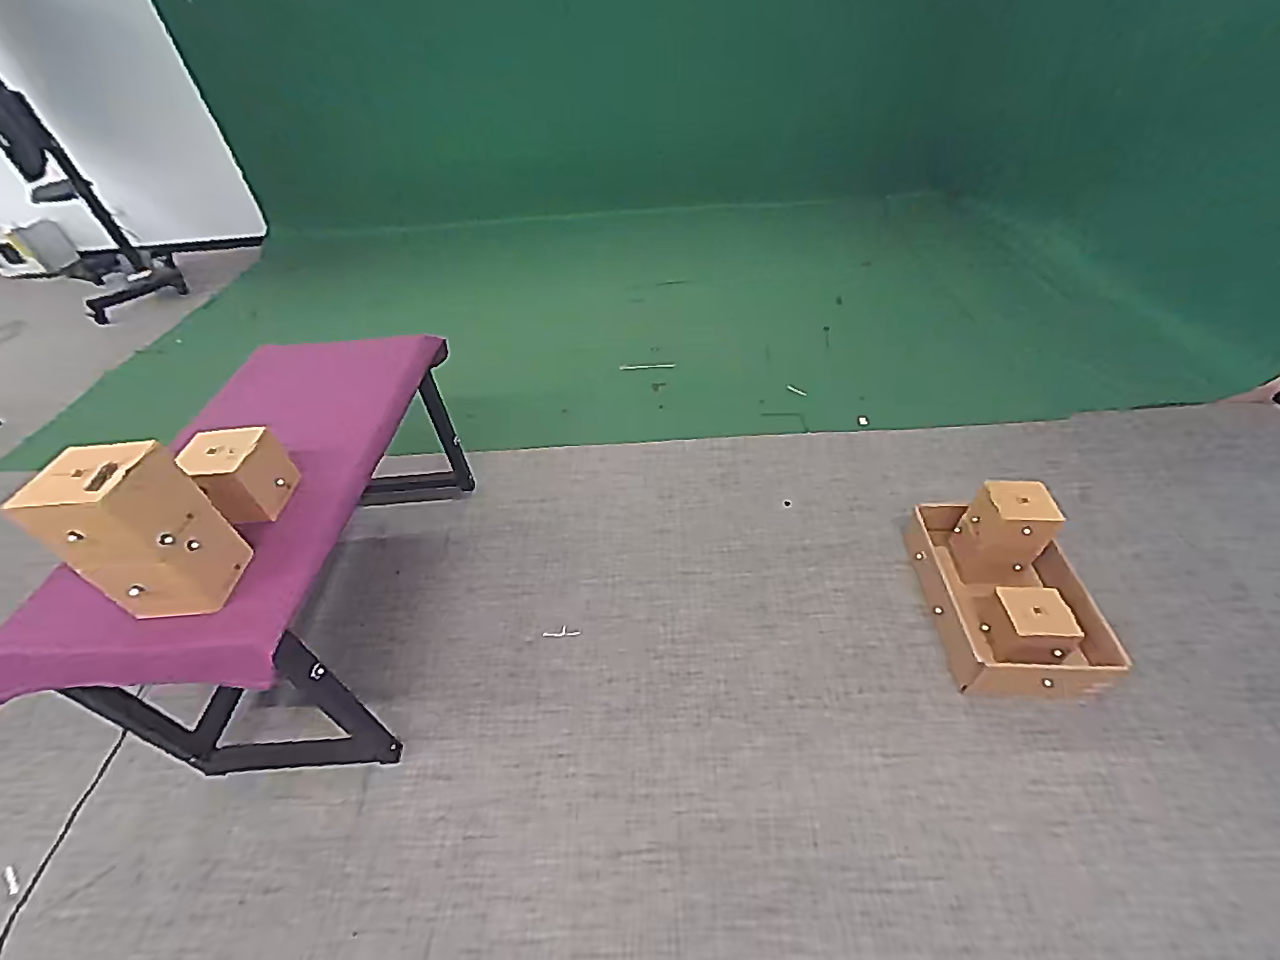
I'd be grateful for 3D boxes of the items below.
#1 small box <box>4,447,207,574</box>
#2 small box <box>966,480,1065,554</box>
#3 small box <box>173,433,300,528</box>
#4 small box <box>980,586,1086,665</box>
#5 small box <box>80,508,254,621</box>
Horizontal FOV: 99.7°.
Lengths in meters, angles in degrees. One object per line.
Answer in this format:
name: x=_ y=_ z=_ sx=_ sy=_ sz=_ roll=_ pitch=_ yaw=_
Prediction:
small box: x=-0.982 y=0.059 z=1.018 sx=0.179 sy=0.176 sz=0.168 roll=-5 pitch=43 yaw=2
small box: x=1.167 y=0.119 z=1.696 sx=0.179 sy=0.176 sz=0.168 roll=0 pitch=45 yaw=6
small box: x=-0.979 y=0.007 z=1.312 sx=0.179 sy=0.176 sz=0.168 roll=-5 pitch=44 yaw=1
small box: x=1.153 y=0.434 z=1.604 sx=0.179 sy=0.176 sz=0.168 roll=-1 pitch=43 yaw=6
small box: x=-0.969 y=0.180 z=1.130 sx=0.179 sy=0.176 sz=0.168 roll=-5 pitch=44 yaw=2
